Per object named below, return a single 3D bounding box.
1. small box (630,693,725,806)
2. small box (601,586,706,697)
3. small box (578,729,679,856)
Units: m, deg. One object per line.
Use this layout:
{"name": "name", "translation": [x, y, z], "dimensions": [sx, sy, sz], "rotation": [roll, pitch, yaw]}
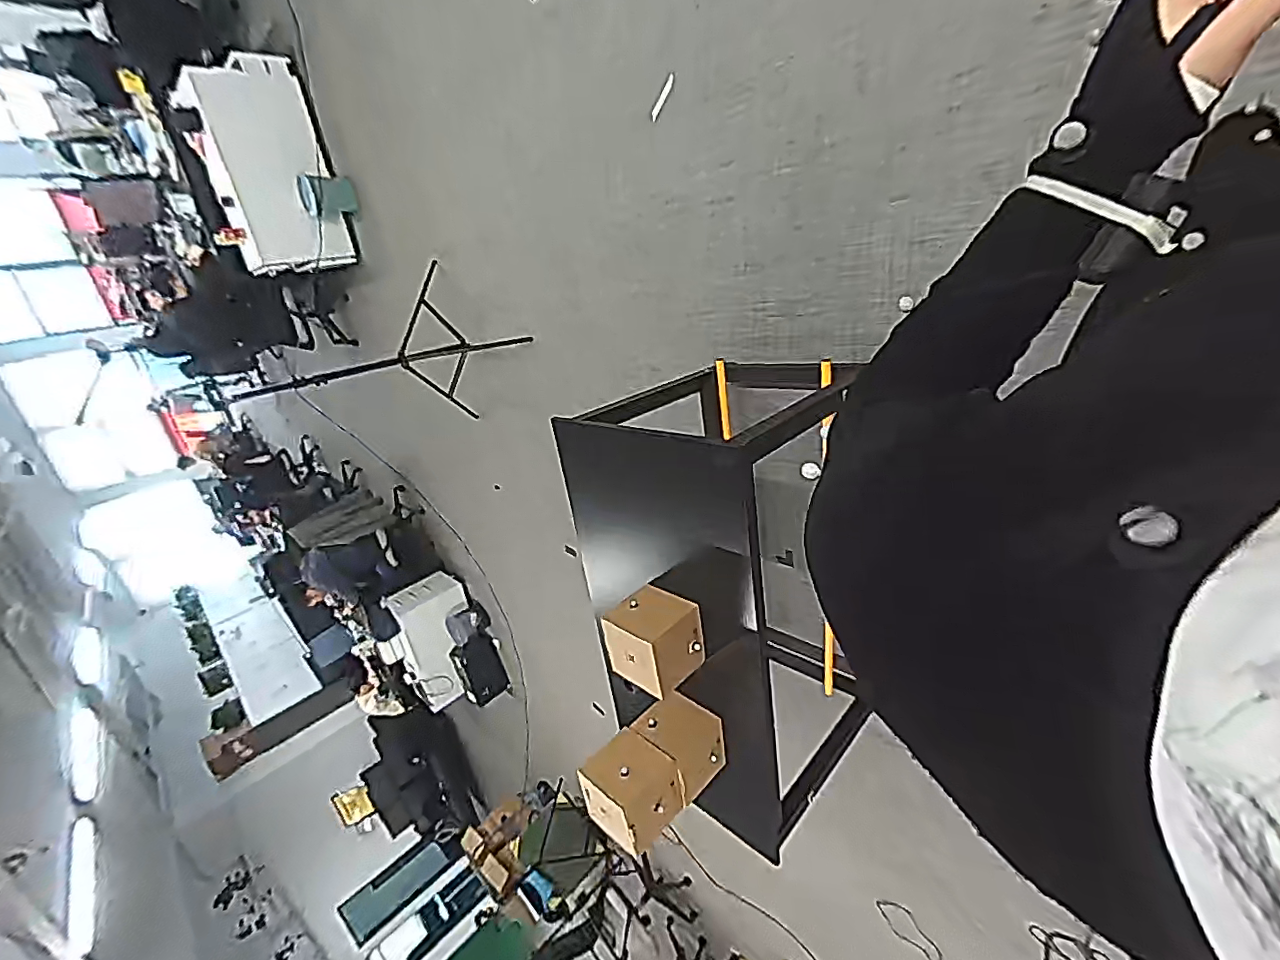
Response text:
{"name": "small box", "translation": [0.101, 0.692, 1.418], "dimensions": [0.179, 0.176, 0.168], "rotation": [15, 123, 43]}
{"name": "small box", "translation": [0.036, 0.379, 1.308], "dimensions": [0.179, 0.176, 0.168], "rotation": [12, 122, 44]}
{"name": "small box", "translation": [-0.020, 0.753, 1.325], "dimensions": [0.179, 0.176, 0.168], "rotation": [12, 120, 44]}
